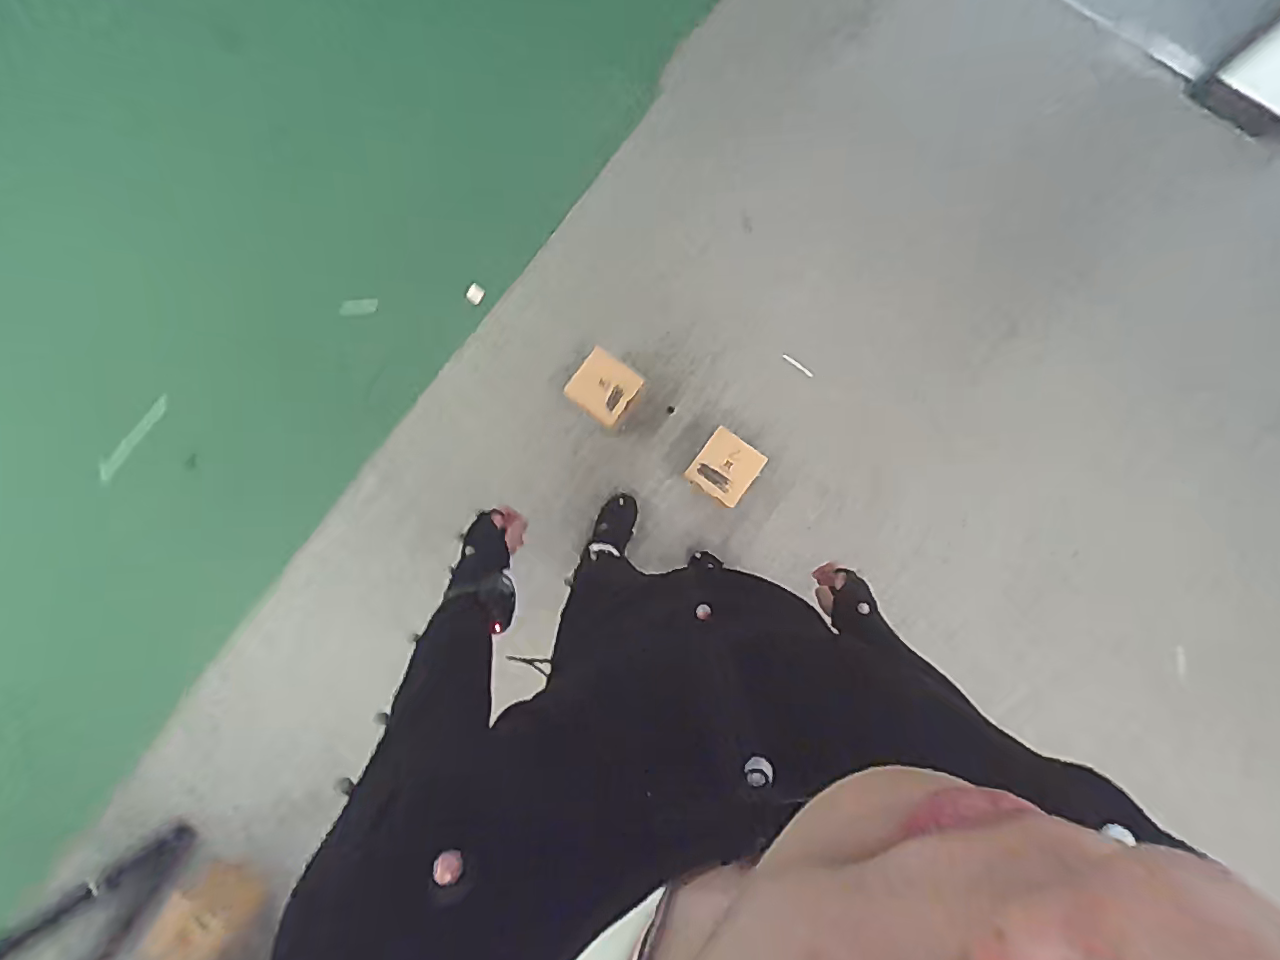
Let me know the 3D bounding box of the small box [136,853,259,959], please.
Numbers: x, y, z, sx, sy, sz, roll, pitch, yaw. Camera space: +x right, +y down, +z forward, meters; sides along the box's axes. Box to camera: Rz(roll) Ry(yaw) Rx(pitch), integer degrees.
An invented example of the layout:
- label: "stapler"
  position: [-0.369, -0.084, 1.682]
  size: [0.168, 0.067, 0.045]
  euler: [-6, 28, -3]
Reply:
- label: "small box"
  position: [-1.216, 1.201, 1.503]
  size: [0.168, 0.176, 0.179]
  euler: [30, 88, 3]

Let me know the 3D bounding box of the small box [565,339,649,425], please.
- label: "small box"
  position: [-0.088, -0.275, 1.571]
  size: [0.179, 0.176, 0.168]
  euler: [38, 87, 4]
